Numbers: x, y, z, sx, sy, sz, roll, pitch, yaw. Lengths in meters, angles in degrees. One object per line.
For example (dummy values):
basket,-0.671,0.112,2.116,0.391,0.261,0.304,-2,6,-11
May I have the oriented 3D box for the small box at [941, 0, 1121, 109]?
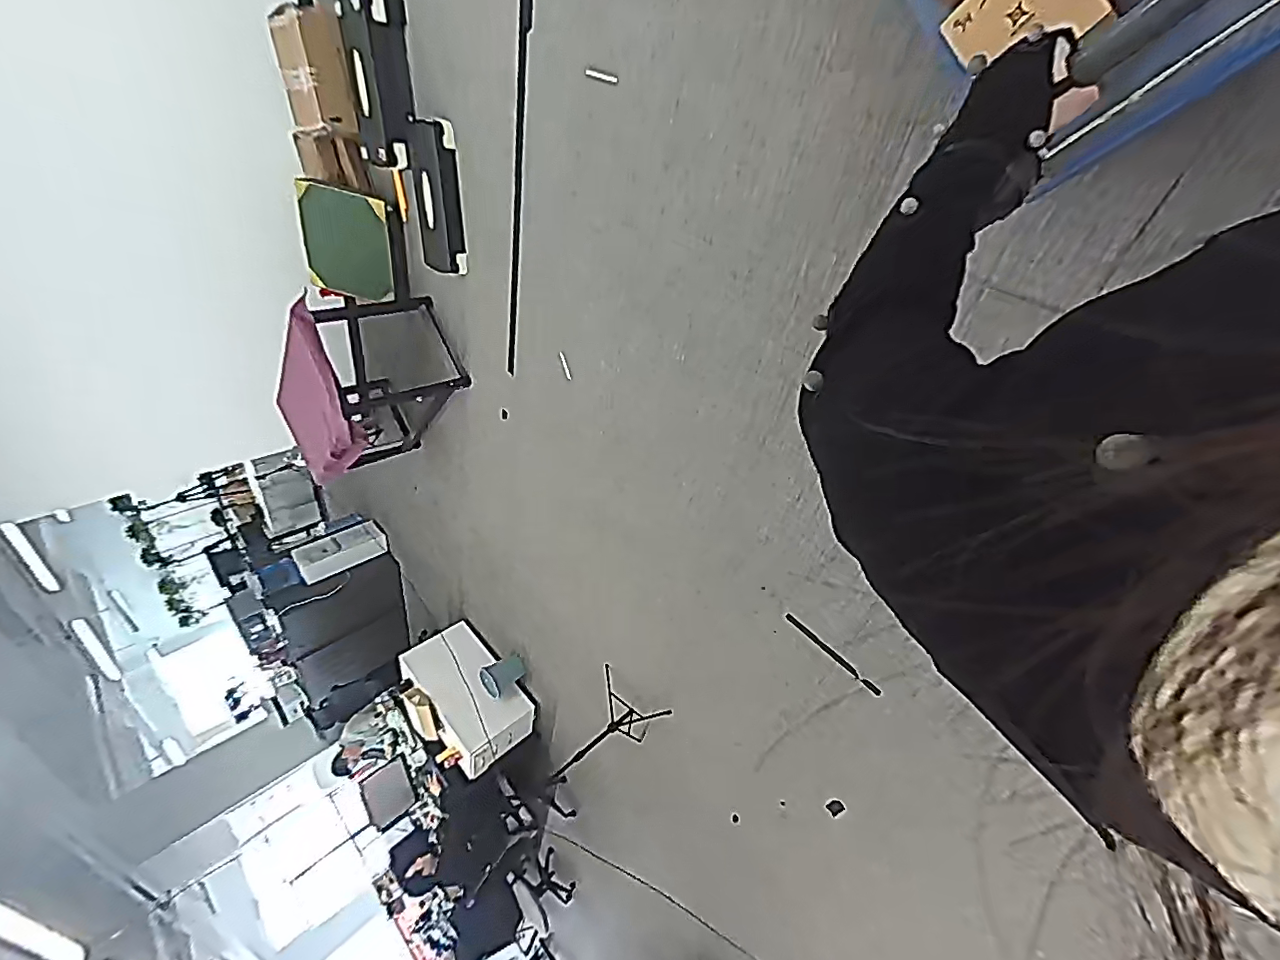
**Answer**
small box,0.633,-0.737,0.873,0.168,0.176,0.179,-34,84,49
